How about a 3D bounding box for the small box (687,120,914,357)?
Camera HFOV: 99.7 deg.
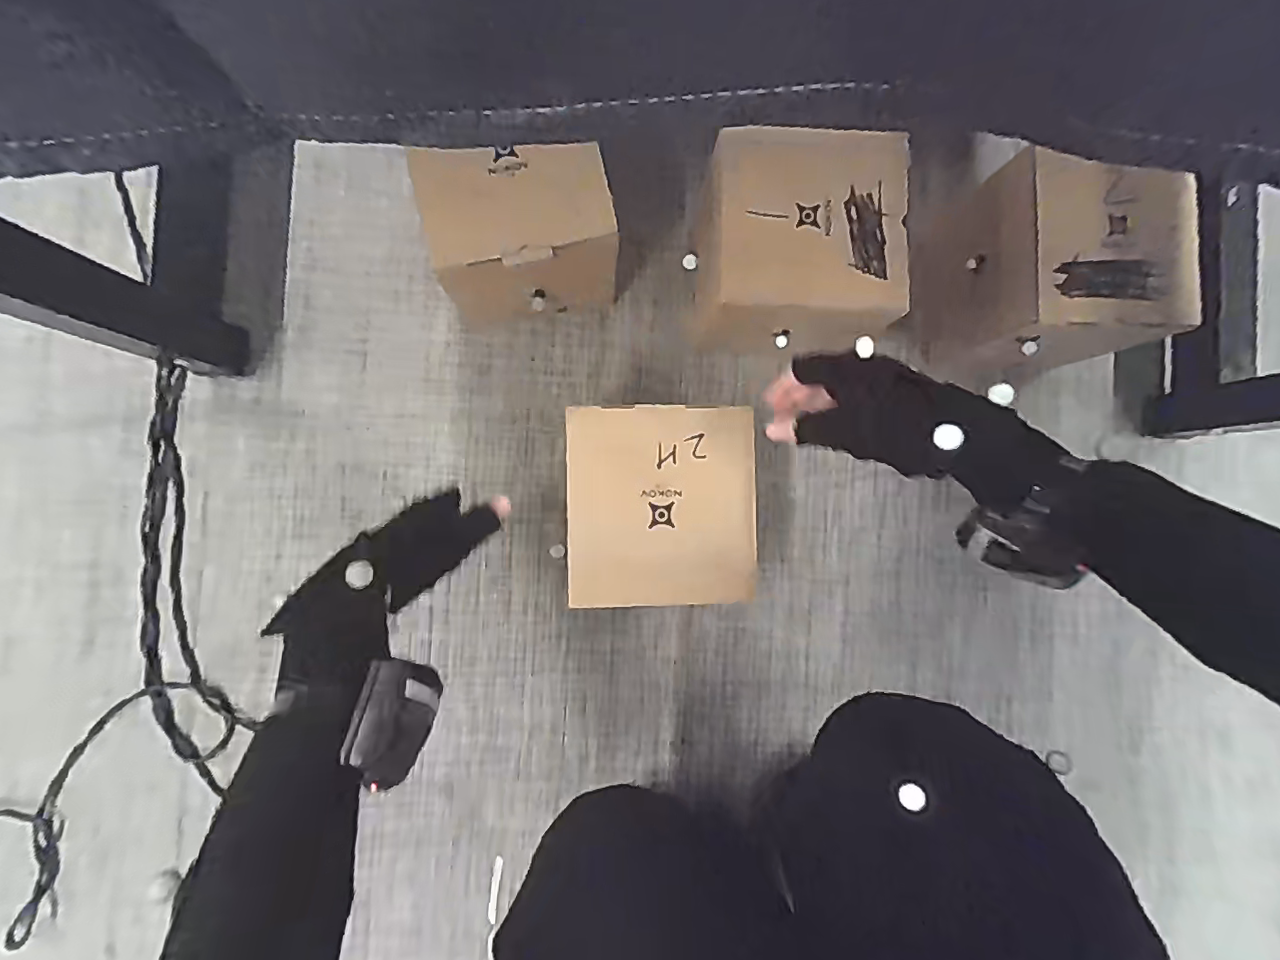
[{"bbox_3d":[0.151,-0.229,0.557,0.179,0.176,0.168,1,89,-5],"label":"small box"}]
